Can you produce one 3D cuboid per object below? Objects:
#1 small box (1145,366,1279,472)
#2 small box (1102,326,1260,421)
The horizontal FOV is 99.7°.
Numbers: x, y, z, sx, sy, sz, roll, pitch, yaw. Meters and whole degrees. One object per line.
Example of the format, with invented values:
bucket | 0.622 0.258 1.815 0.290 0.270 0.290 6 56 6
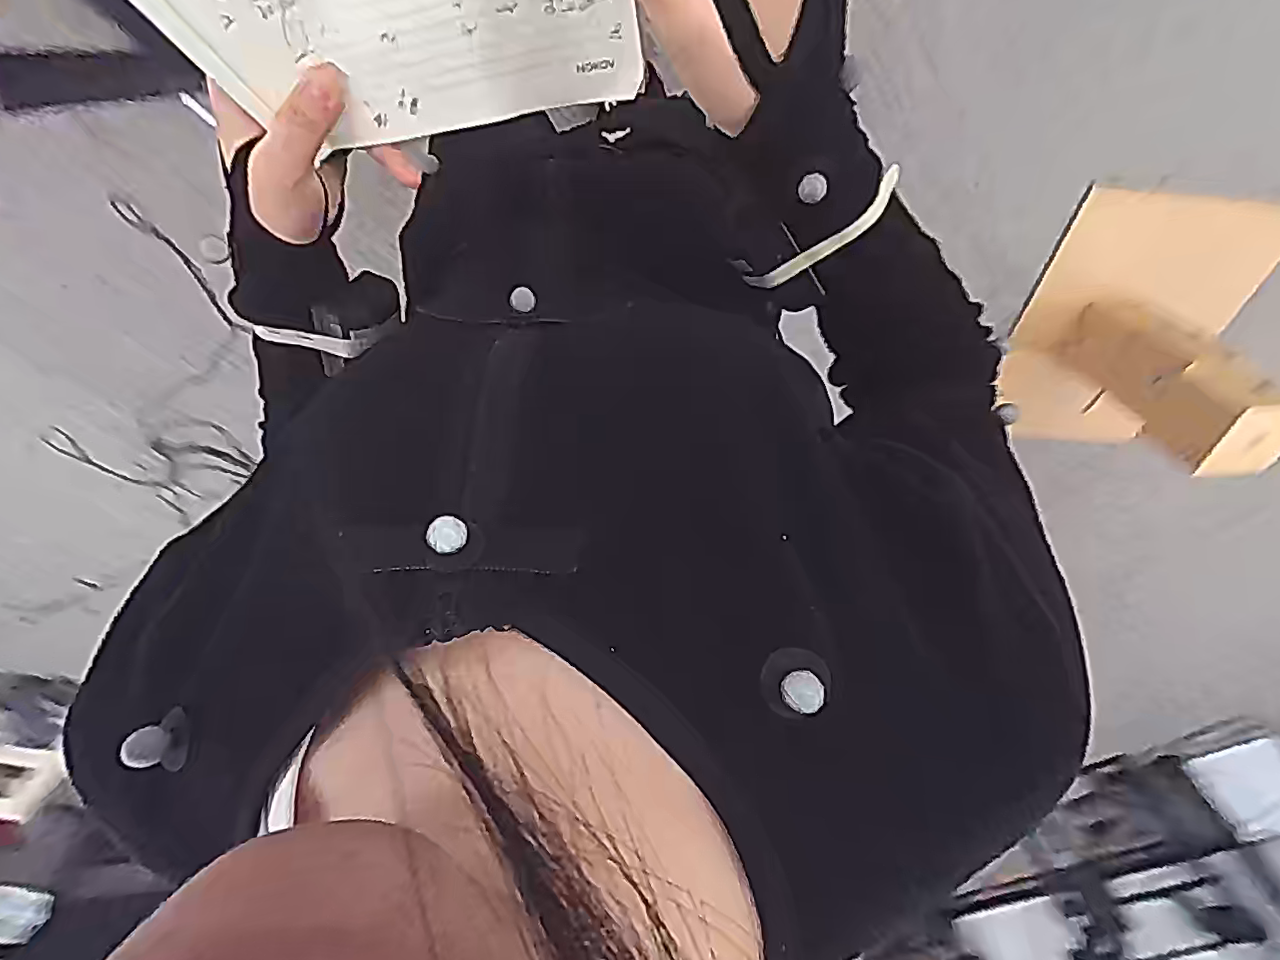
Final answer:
small box | 1.290 -0.140 1.193 0.168 0.176 0.179 -4 131 0
small box | 1.287 -0.258 1.306 0.168 0.176 0.179 2 131 -5
